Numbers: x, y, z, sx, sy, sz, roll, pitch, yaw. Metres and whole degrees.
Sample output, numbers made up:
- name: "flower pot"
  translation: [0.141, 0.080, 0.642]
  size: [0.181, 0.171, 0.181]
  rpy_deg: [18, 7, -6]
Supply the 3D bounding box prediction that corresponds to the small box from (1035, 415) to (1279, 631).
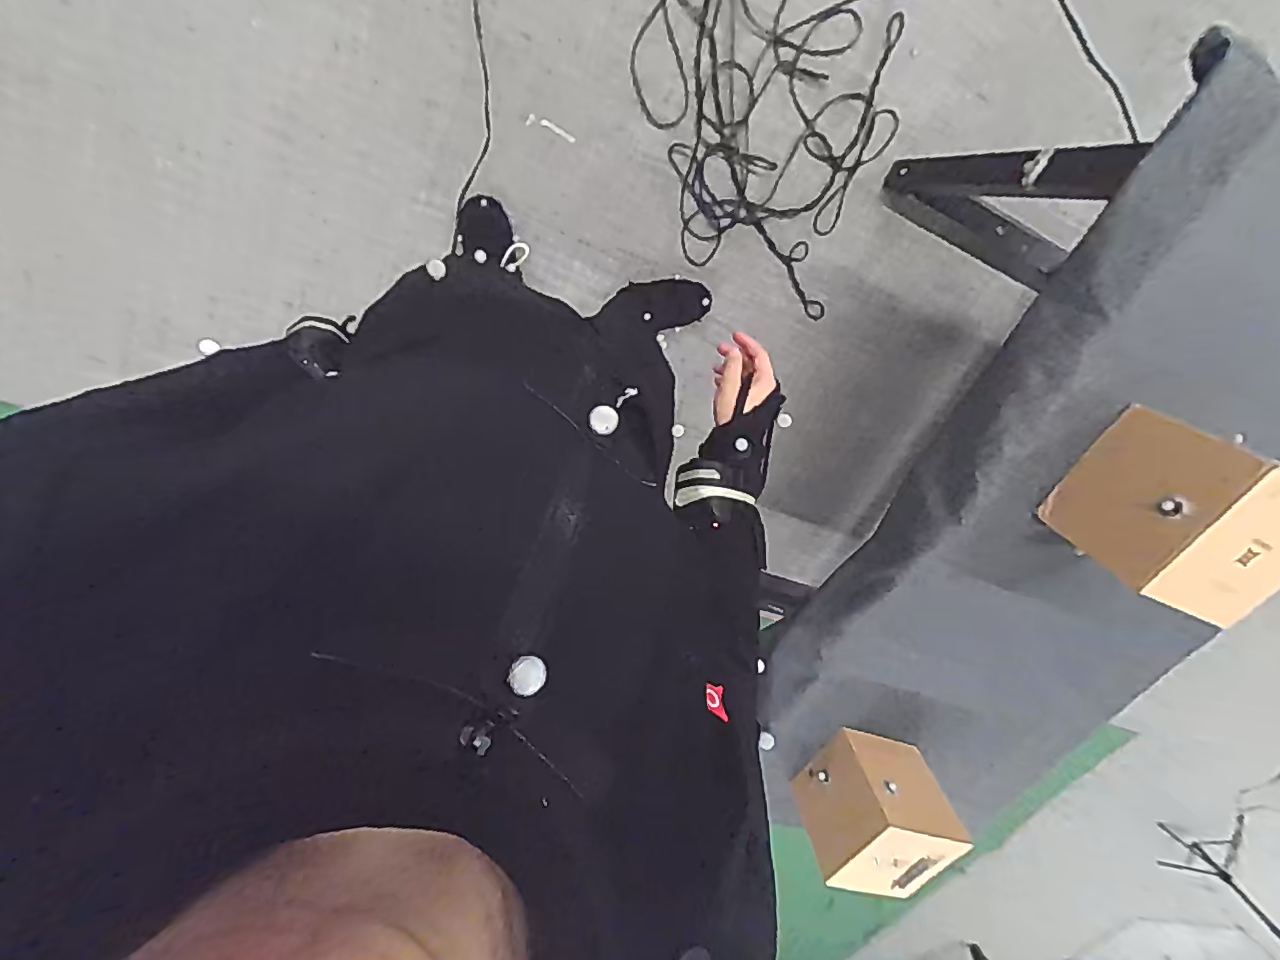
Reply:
- name: "small box"
  translation: [0.642, 0.045, 0.654]
  size: [0.168, 0.176, 0.179]
  rpy_deg: [20, 115, -16]
